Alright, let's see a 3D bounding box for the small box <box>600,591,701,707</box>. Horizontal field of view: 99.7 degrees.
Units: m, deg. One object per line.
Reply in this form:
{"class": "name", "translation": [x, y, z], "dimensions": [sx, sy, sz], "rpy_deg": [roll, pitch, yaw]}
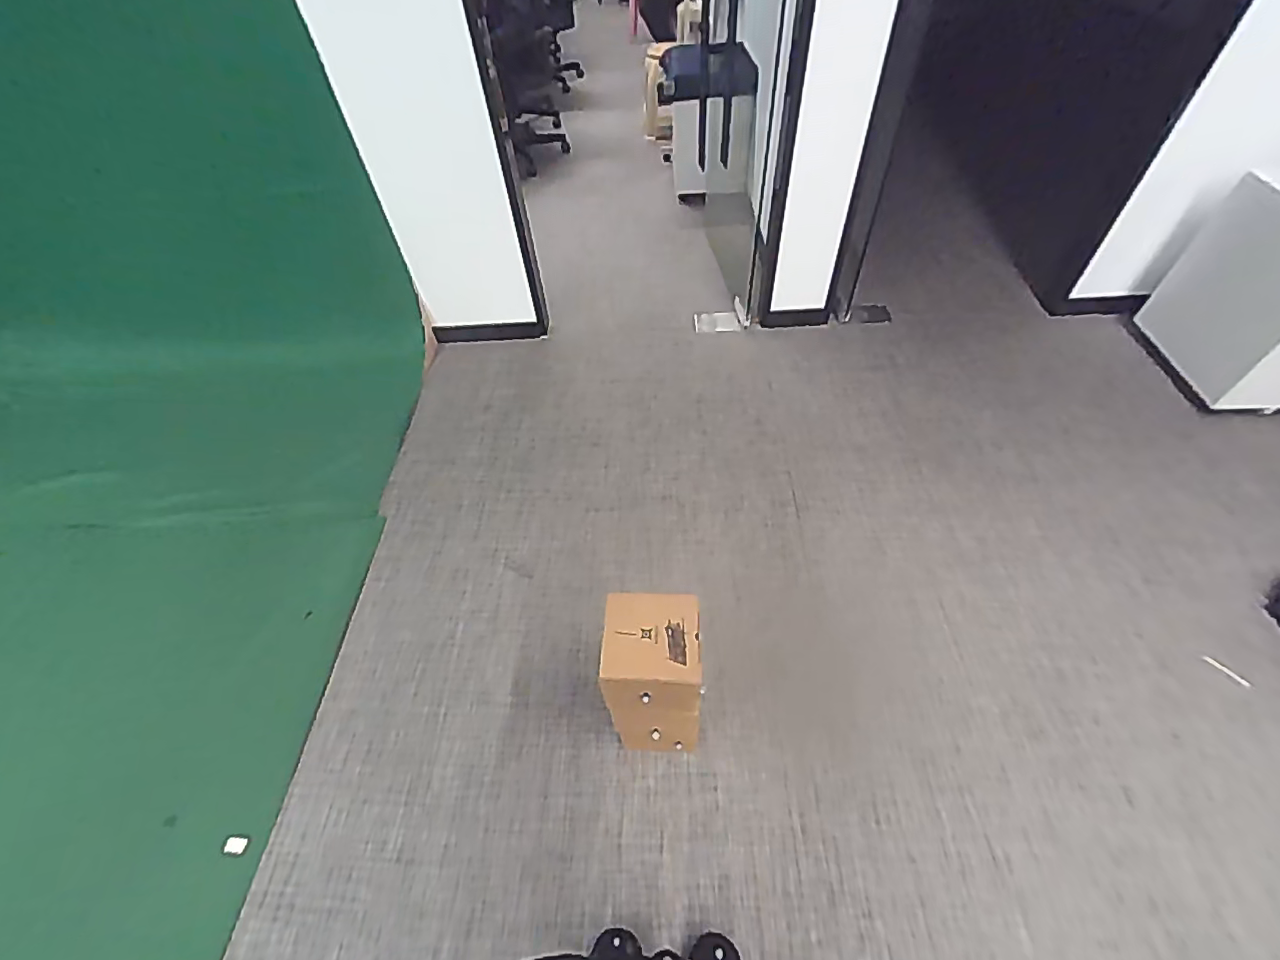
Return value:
{"class": "small box", "translation": [0.020, 0.327, 1.039], "dimensions": [0.179, 0.176, 0.168], "rpy_deg": [0, 51, 2]}

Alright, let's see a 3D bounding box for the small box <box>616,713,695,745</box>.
{"class": "small box", "translation": [0.042, 0.529, 1.298], "dimensions": [0.179, 0.176, 0.168], "rpy_deg": [-1, 51, 5]}

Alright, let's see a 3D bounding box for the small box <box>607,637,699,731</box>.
{"class": "small box", "translation": [0.032, 0.431, 1.166], "dimensions": [0.179, 0.176, 0.168], "rpy_deg": [3, 51, 6]}
